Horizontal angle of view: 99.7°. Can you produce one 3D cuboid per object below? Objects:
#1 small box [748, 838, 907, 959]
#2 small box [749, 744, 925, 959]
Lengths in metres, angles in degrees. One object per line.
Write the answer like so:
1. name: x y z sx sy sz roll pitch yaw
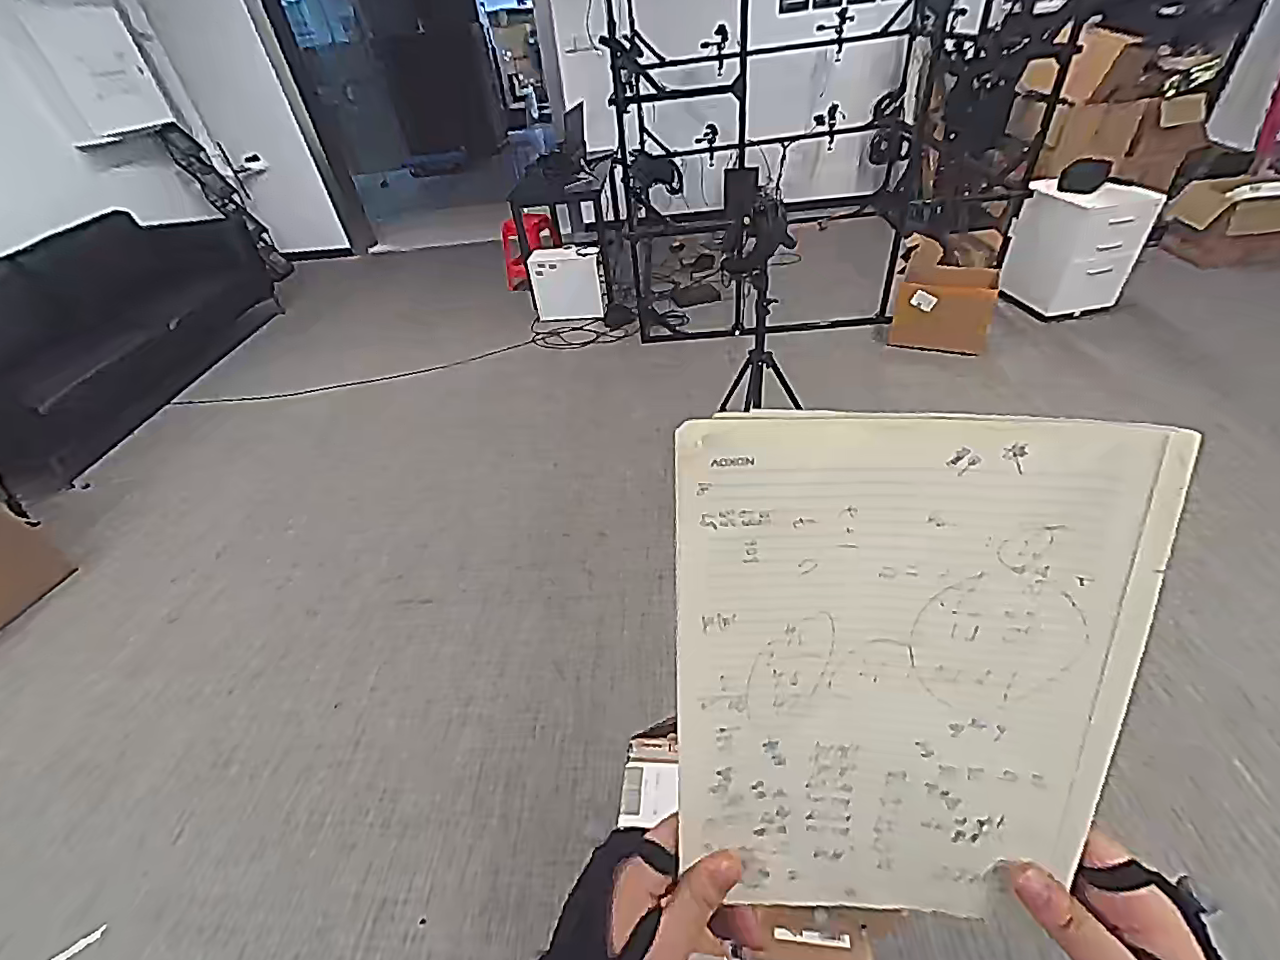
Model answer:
1. small box: 0.254 0.582 0.782 0.179 0.176 0.168 0 42 6
2. small box: 0.225 0.461 0.673 0.168 0.176 0.179 4 43 8
